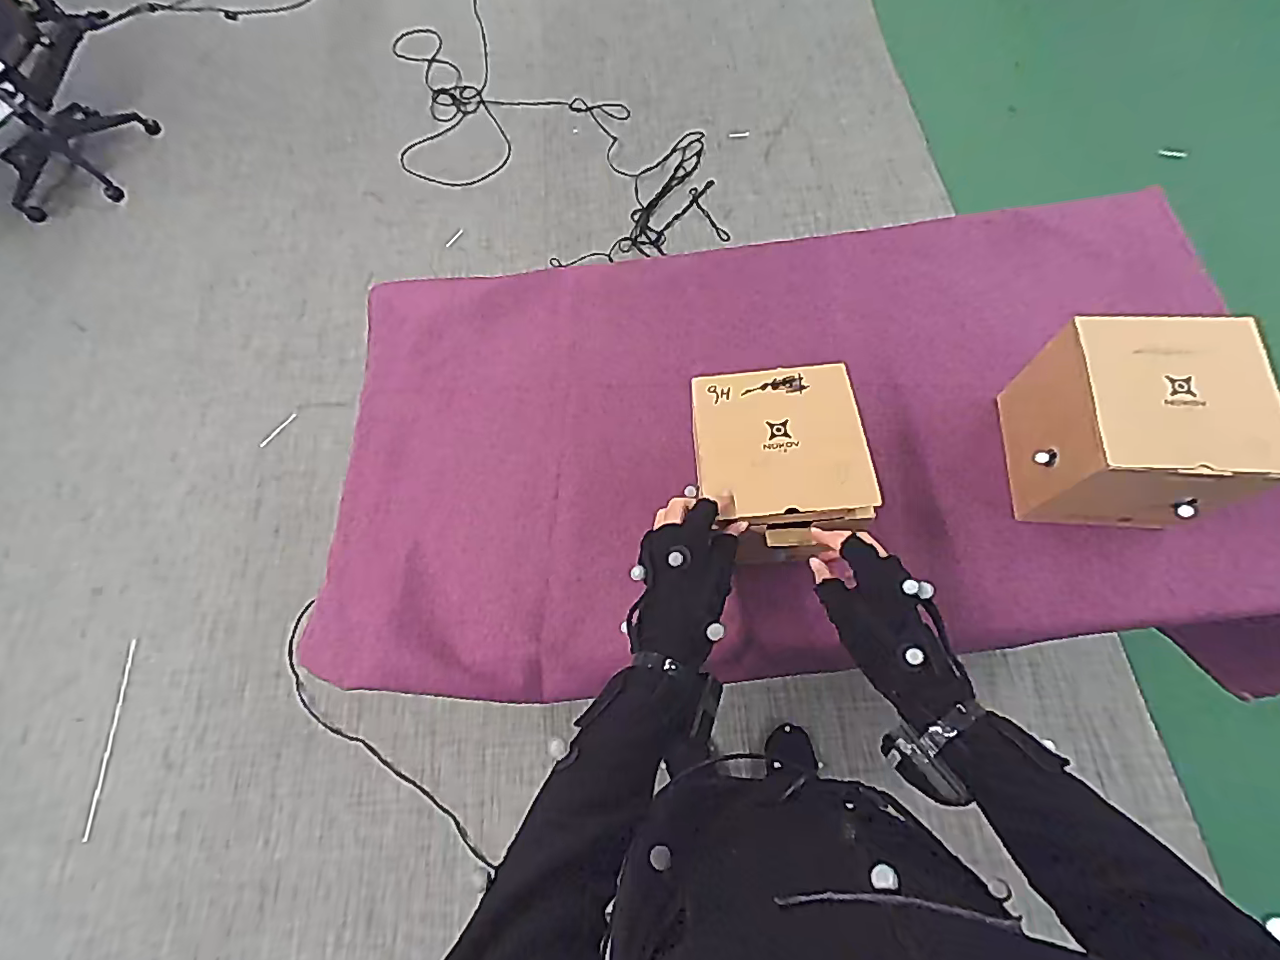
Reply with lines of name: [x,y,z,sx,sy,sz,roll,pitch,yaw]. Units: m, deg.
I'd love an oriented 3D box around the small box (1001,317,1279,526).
small box: [0.533,-0.056,0.597,0.168,0.176,0.179,3,68,9]

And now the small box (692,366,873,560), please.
small box: [0.151,-0.007,0.627,0.168,0.176,0.179,-5,68,5]
